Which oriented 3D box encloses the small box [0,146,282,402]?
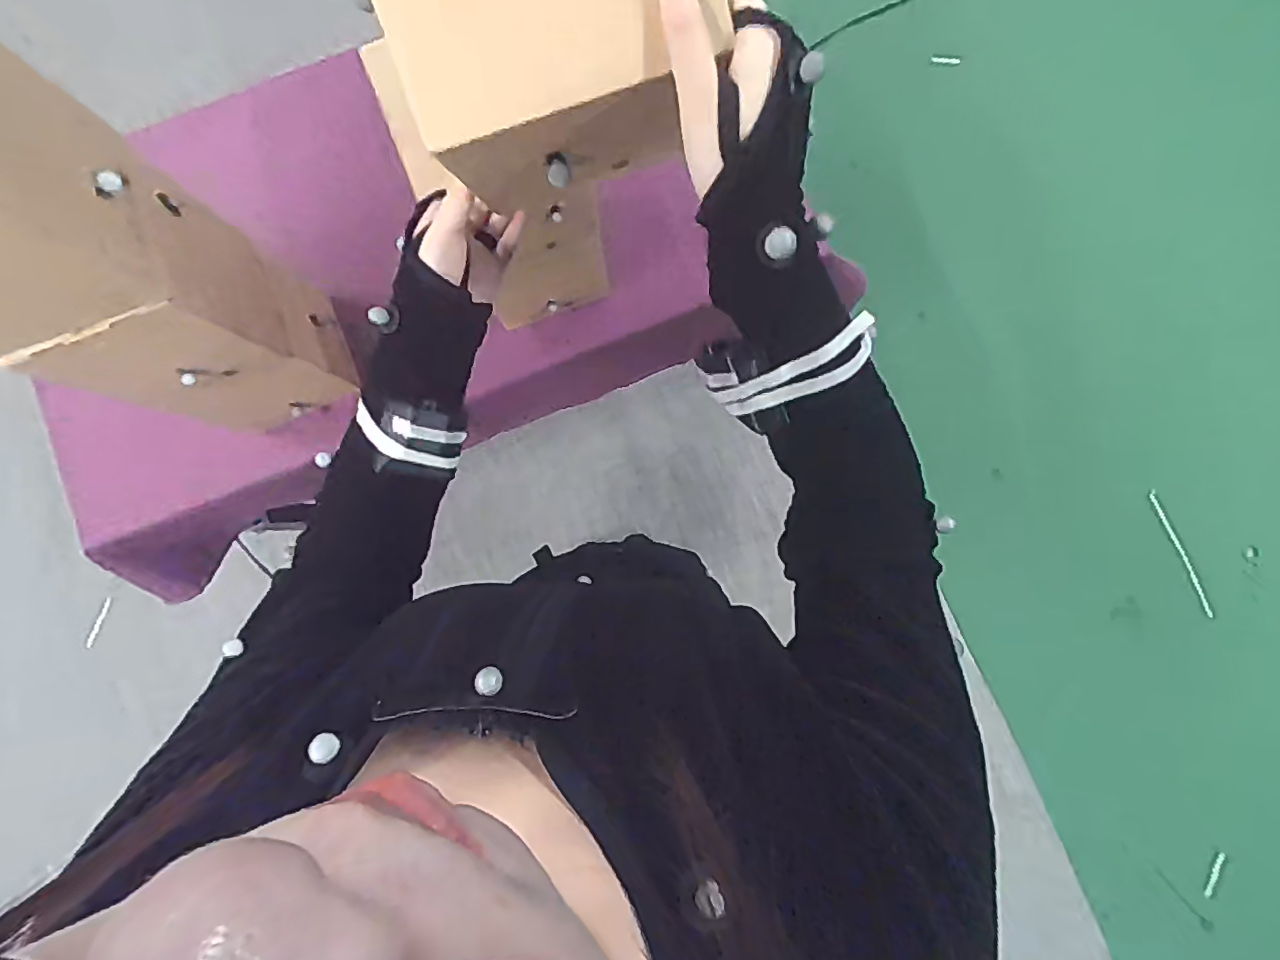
[{"bbox_3d":[-0.532,-0.205,0.576,0.168,0.176,0.179,-22,86,-1],"label":"small box"}]

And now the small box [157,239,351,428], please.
[{"bbox_3d":[-0.531,-0.187,0.740,0.179,0.176,0.168,-24,86,-2],"label":"small box"}]

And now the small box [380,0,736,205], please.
[{"bbox_3d":[-0.053,-0.287,0.330,0.168,0.176,0.179,-16,105,3],"label":"small box"}]

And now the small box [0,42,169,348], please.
[{"bbox_3d":[-0.529,-0.221,0.412,0.179,0.176,0.168,-21,86,-2],"label":"small box"}]

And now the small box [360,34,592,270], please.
[{"bbox_3d":[-0.159,-0.354,0.587,0.168,0.176,0.179,-22,86,-2],"label":"small box"}]
